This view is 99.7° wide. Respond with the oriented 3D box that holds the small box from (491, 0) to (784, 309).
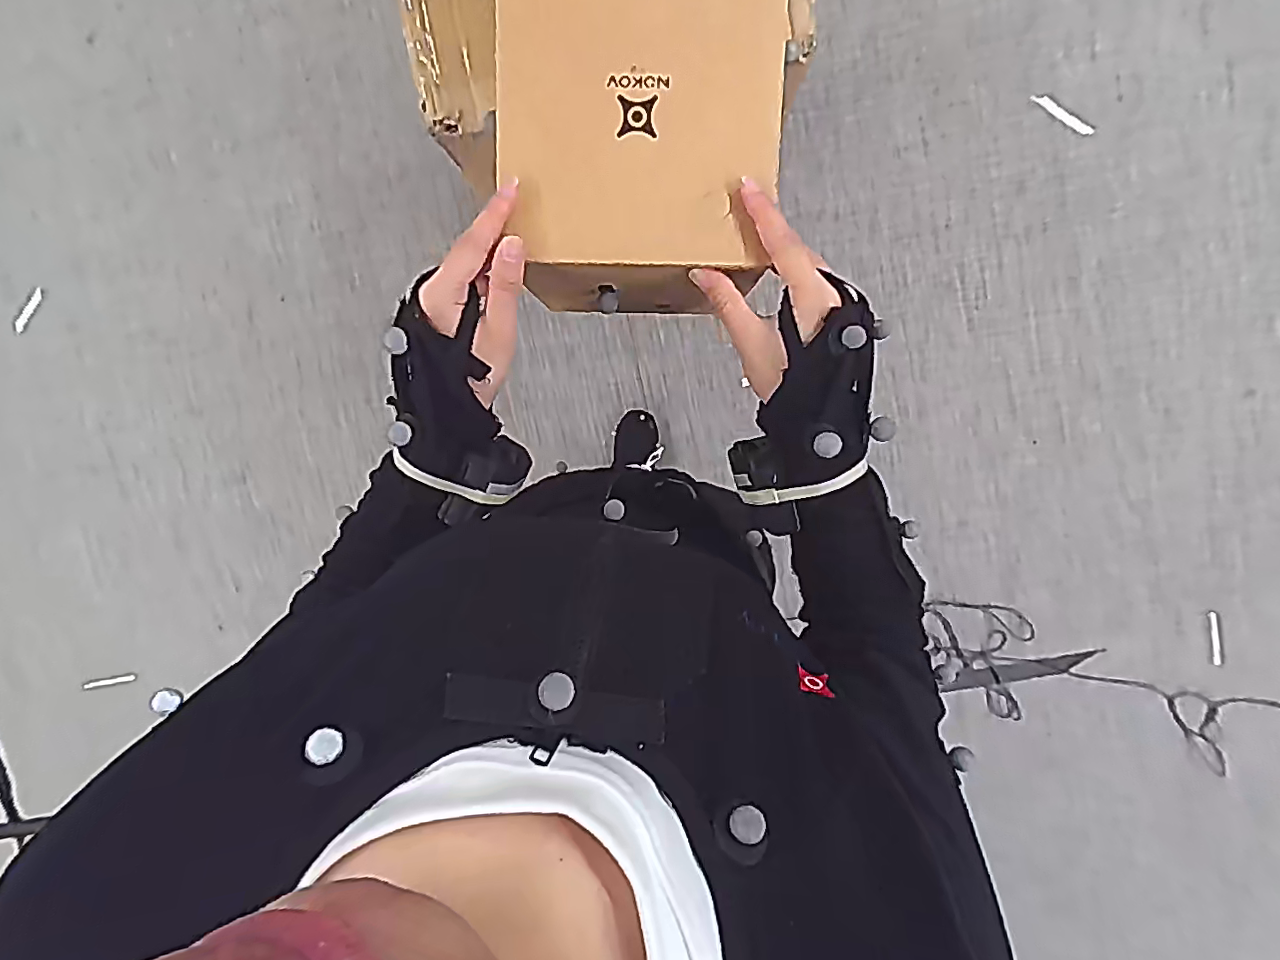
[{"bbox_3d":[0.000,-0.226,0.386,0.168,0.176,0.179,2,96,1],"label":"small box"}]
